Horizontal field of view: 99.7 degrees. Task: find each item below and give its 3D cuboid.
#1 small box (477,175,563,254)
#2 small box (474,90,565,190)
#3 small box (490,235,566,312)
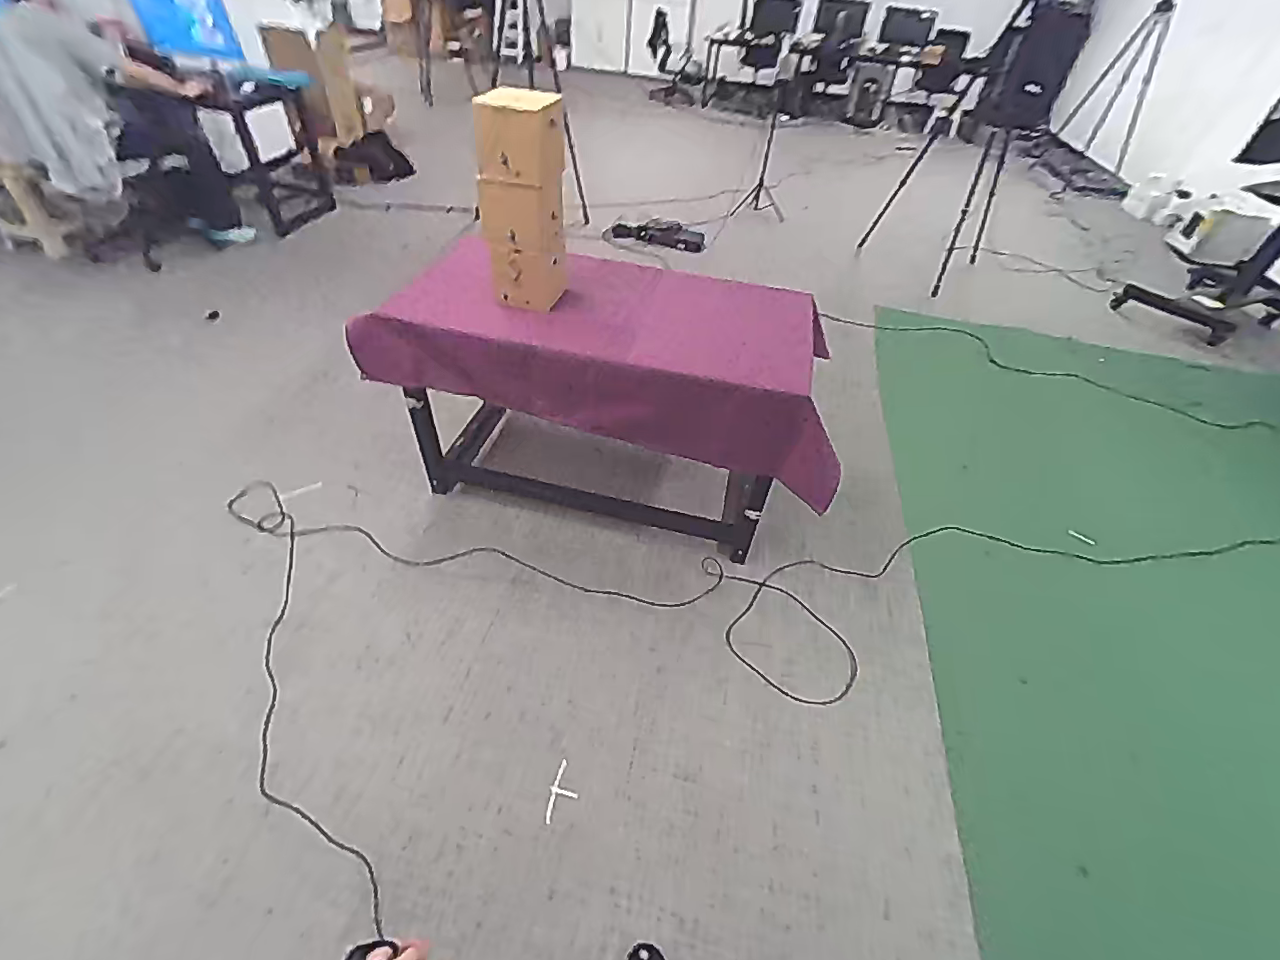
[{"bbox_3d":[-0.316,-0.729,1.460,0.179,0.176,0.168,14,45,7],"label":"small box"},{"bbox_3d":[-0.292,-0.846,1.348,0.168,0.176,0.179,13,46,7],"label":"small box"},{"bbox_3d":[-0.317,-0.611,1.575,0.168,0.176,0.179,13,44,6],"label":"small box"}]
